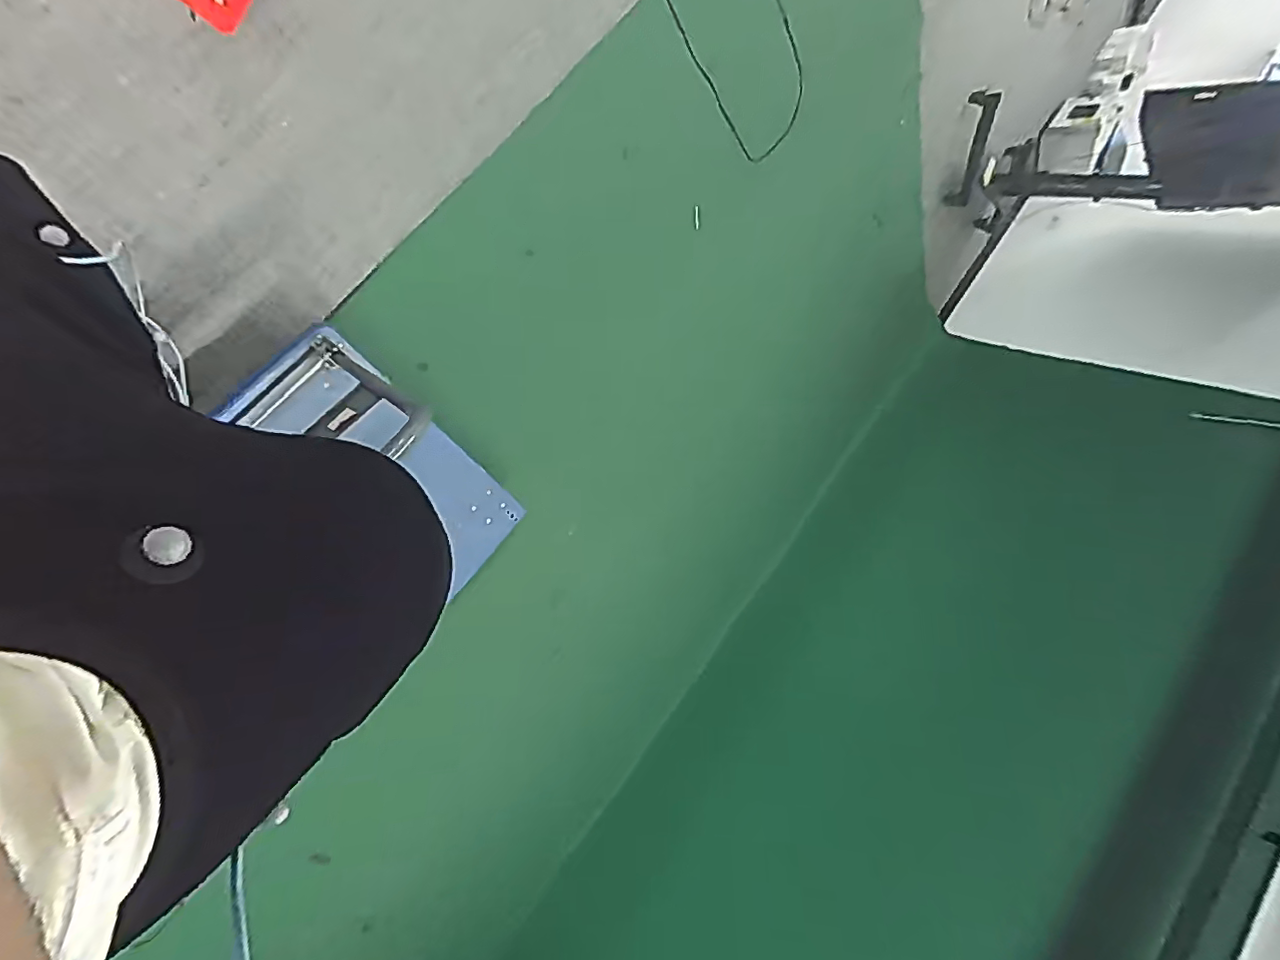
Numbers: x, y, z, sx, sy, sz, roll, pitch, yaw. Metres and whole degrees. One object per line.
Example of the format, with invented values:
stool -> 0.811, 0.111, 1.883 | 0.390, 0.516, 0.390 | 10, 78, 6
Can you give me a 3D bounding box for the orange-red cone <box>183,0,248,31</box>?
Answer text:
orange-red cone -> -0.725, -0.951, 0.915 | 0.198, 0.360, 0.199 | 28, 89, -52
